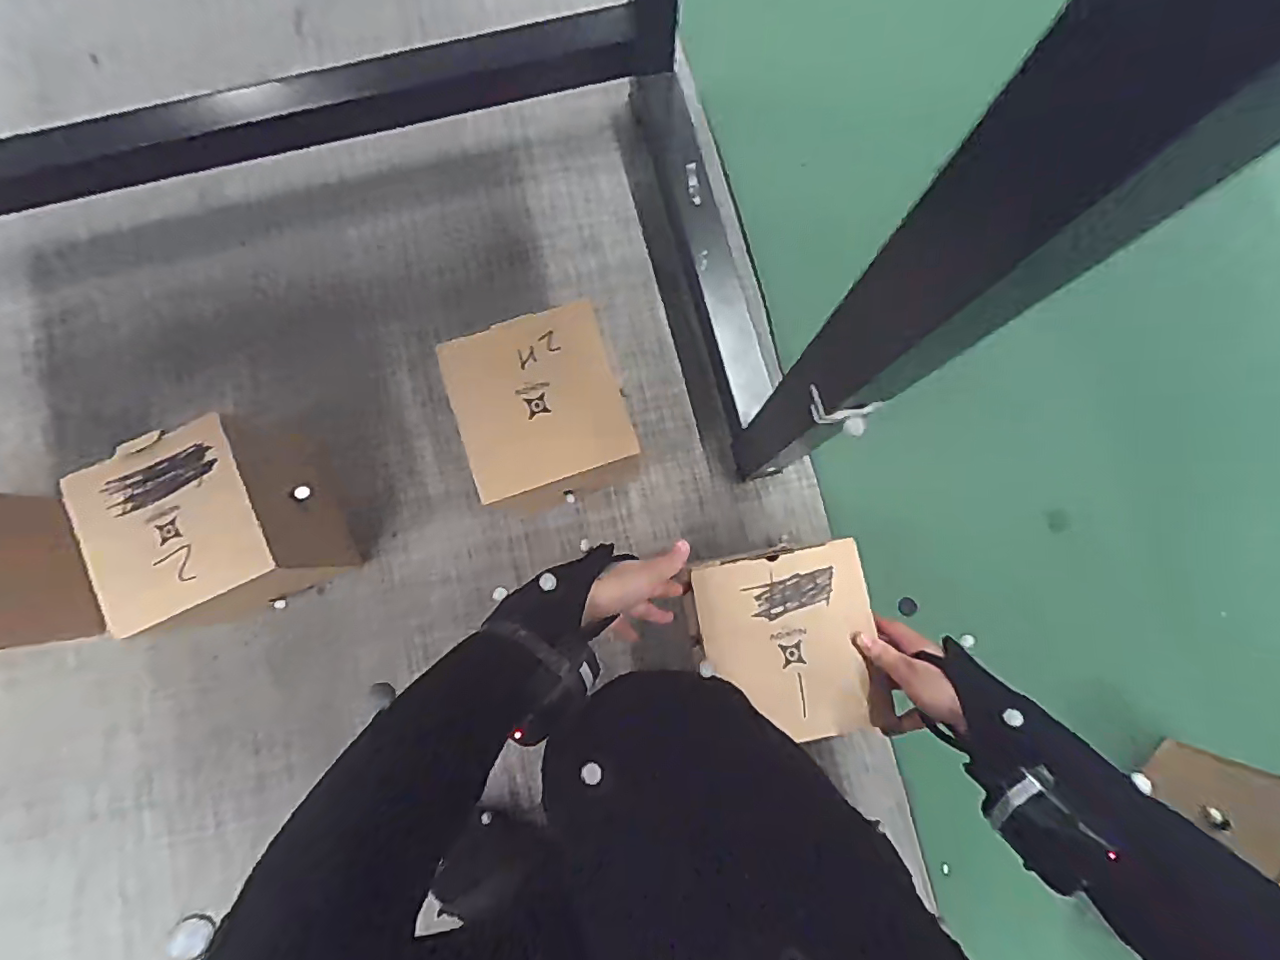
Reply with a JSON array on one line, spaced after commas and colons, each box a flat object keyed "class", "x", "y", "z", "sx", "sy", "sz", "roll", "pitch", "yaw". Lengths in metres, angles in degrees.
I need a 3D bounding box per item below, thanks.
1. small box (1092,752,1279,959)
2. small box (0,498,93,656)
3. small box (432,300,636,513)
[{"class": "small box", "x": 0.621, "y": 0.414, "z": 0.540, "sx": 0.168, "sy": 0.176, "sz": 0.179, "roll": 44, "pitch": 83, "yaw": 6}, {"class": "small box", "x": -0.759, "y": 0.114, "z": 0.593, "sx": 0.168, "sy": 0.176, "sz": 0.179, "roll": -10, "pitch": 81, "yaw": -1}, {"class": "small box", "x": -0.105, "y": -0.067, "z": 0.611, "sx": 0.168, "sy": 0.176, "sz": 0.179, "roll": -19, "pitch": 82, "yaw": -3}]
